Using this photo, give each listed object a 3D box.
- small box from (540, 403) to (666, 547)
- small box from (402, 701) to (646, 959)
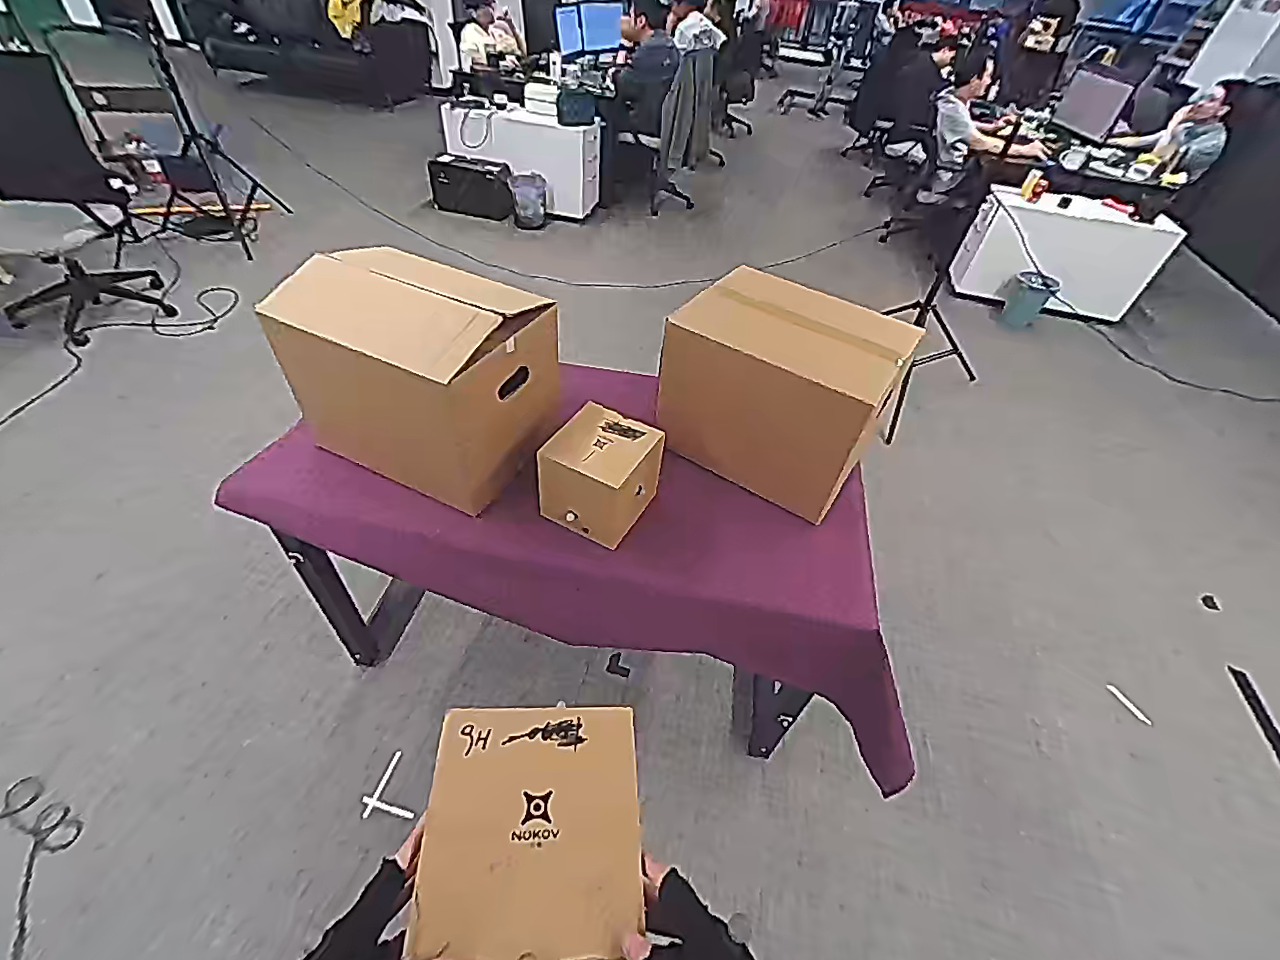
[{"bbox_3d":[-0.070,-0.010,1.012,0.168,0.176,0.179,24,47,17],"label":"small box"},{"bbox_3d":[-0.090,0.312,0.473,0.168,0.176,0.179,3,46,-9],"label":"small box"}]
